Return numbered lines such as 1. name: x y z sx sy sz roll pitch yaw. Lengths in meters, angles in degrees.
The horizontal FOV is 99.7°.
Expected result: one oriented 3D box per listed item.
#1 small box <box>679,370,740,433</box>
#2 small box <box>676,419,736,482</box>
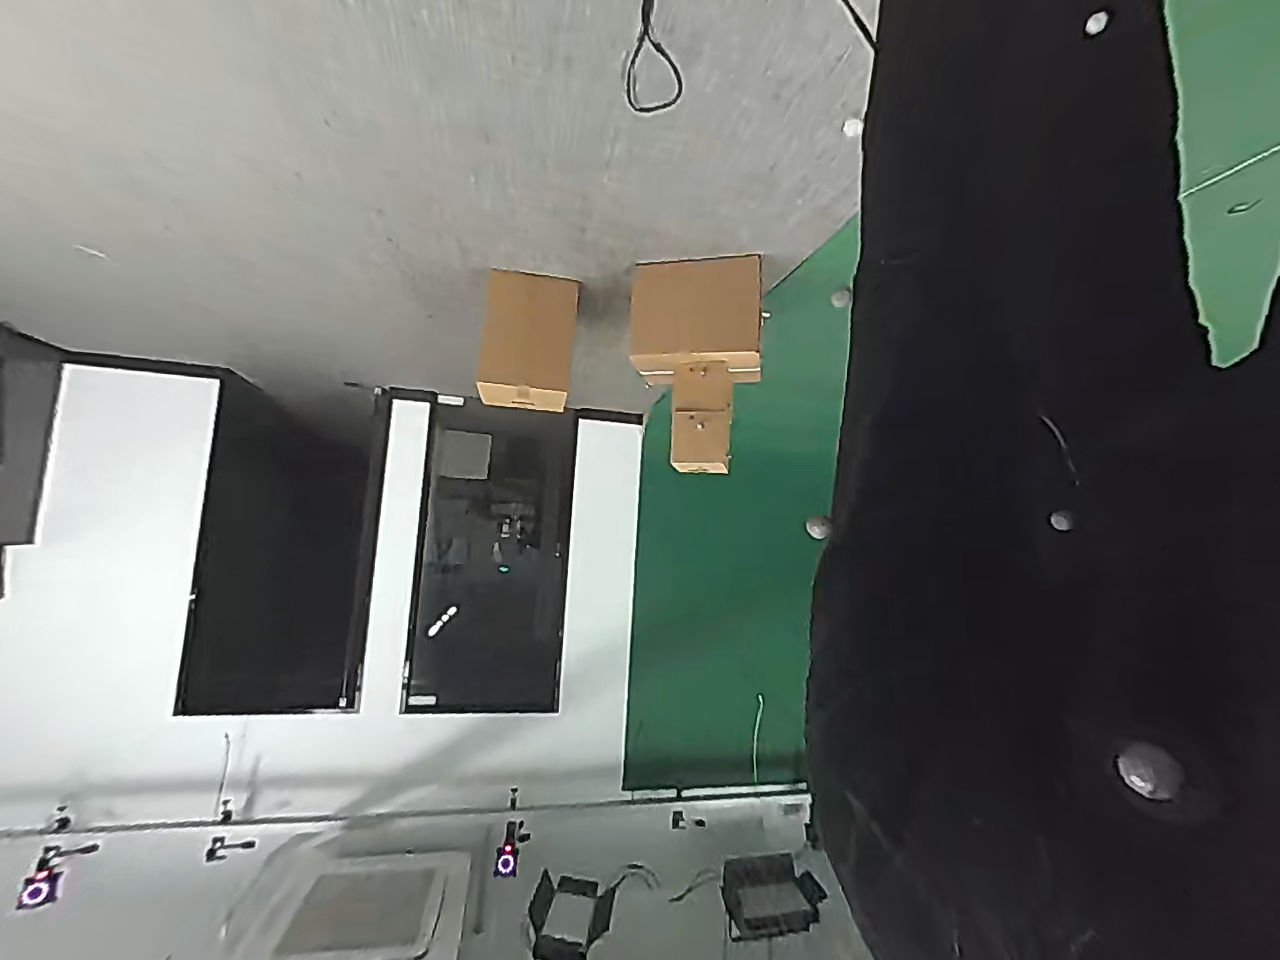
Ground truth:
1. small box: 0.232 -0.254 1.774 0.168 0.176 0.179 1 172 20
2. small box: 0.217 -0.093 1.741 0.168 0.176 0.179 2 171 15
